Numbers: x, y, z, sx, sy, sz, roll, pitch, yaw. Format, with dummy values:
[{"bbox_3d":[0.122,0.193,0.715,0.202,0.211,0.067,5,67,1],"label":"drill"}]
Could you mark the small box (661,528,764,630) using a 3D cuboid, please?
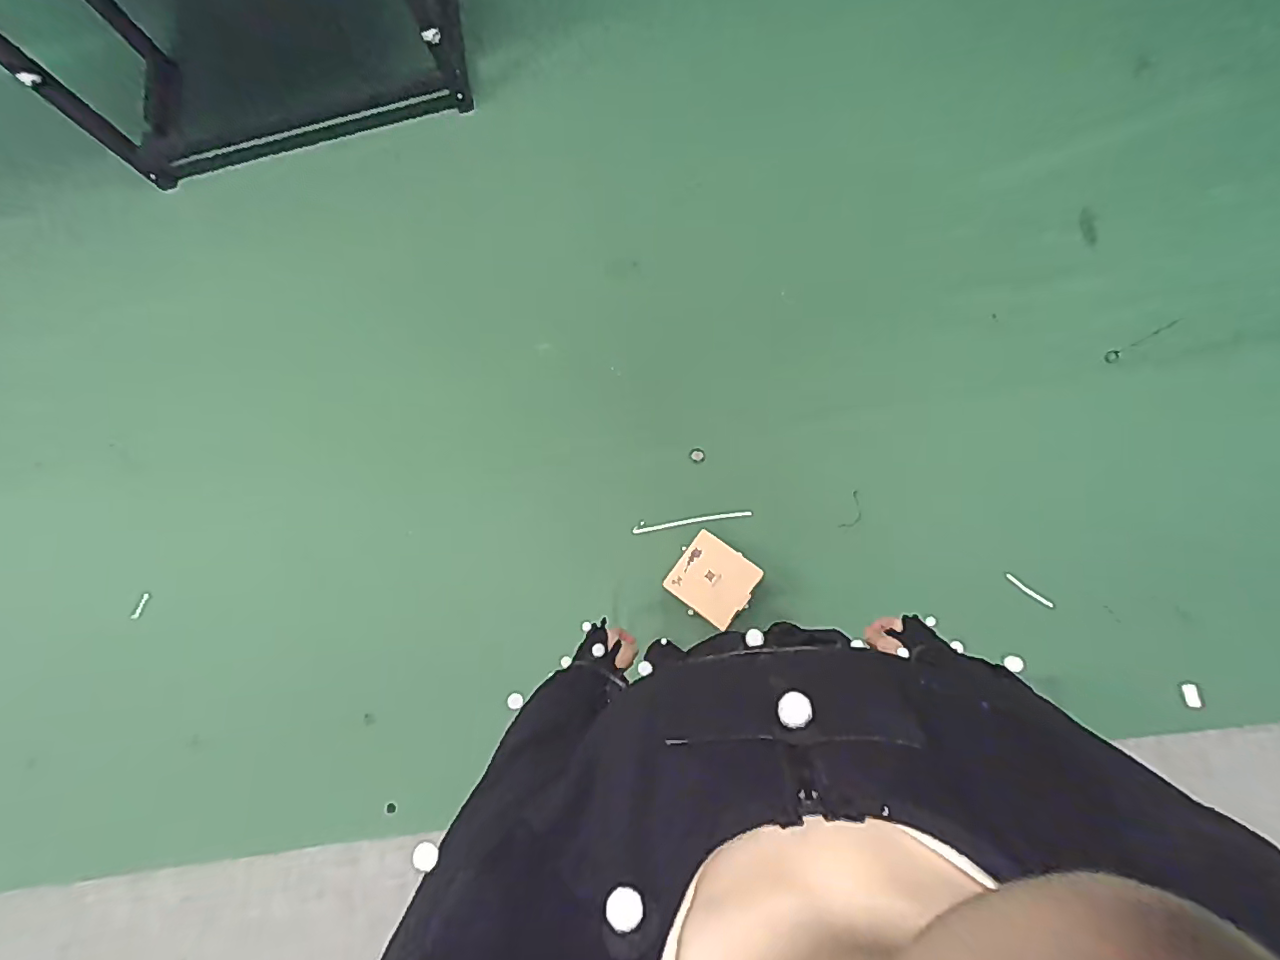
[{"bbox_3d":[0.172,0.239,1.299,0.179,0.176,0.168,36,82,13],"label":"small box"}]
